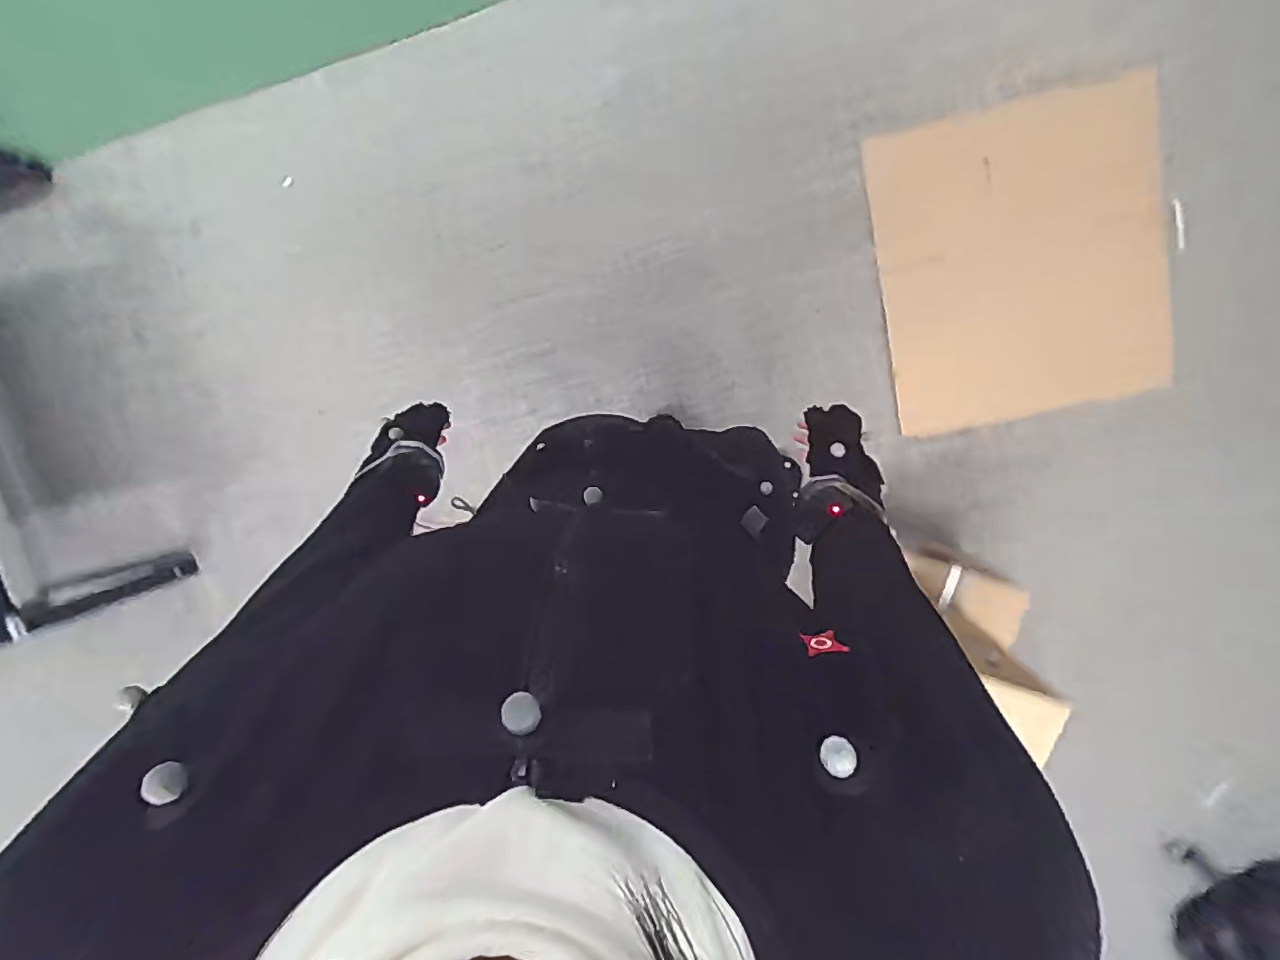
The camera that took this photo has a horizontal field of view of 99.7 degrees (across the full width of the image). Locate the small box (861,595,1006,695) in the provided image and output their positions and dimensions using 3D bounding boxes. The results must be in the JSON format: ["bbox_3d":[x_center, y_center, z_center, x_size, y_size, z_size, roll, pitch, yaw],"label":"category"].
[{"bbox_3d":[0.539,0.338,1.021,0.168,0.176,0.179,12,101,4],"label":"small box"}]

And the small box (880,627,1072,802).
[{"bbox_3d":[0.511,0.356,0.857,0.179,0.176,0.168,18,101,3],"label":"small box"}]
